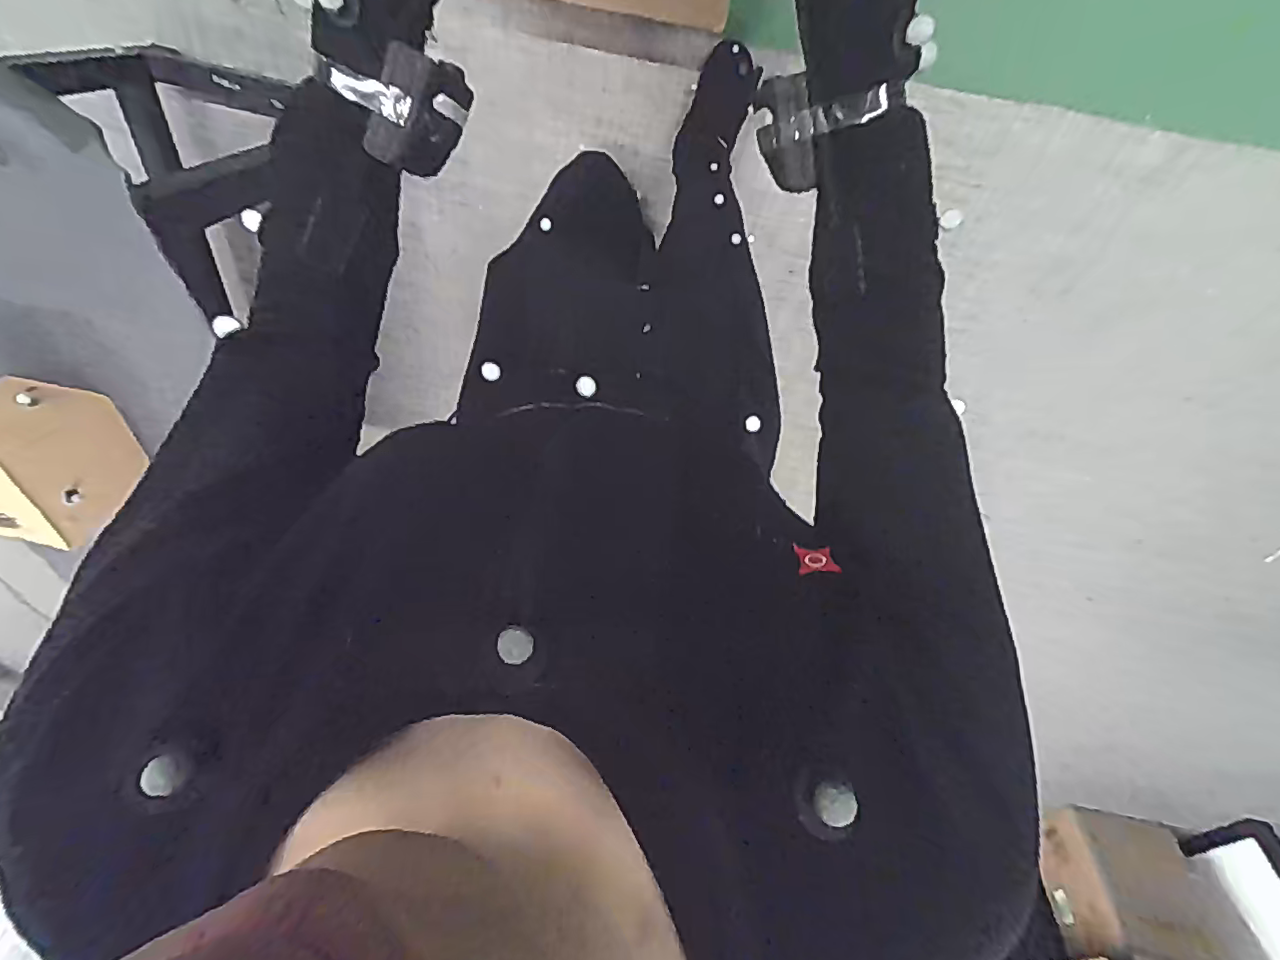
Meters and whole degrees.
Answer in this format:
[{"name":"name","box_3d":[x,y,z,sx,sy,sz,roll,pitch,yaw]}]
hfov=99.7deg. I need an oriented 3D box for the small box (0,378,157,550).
[{"name":"small box","box_3d":[-0.899,-0.026,0.817,0.168,0.176,0.179,11,132,1]}]
